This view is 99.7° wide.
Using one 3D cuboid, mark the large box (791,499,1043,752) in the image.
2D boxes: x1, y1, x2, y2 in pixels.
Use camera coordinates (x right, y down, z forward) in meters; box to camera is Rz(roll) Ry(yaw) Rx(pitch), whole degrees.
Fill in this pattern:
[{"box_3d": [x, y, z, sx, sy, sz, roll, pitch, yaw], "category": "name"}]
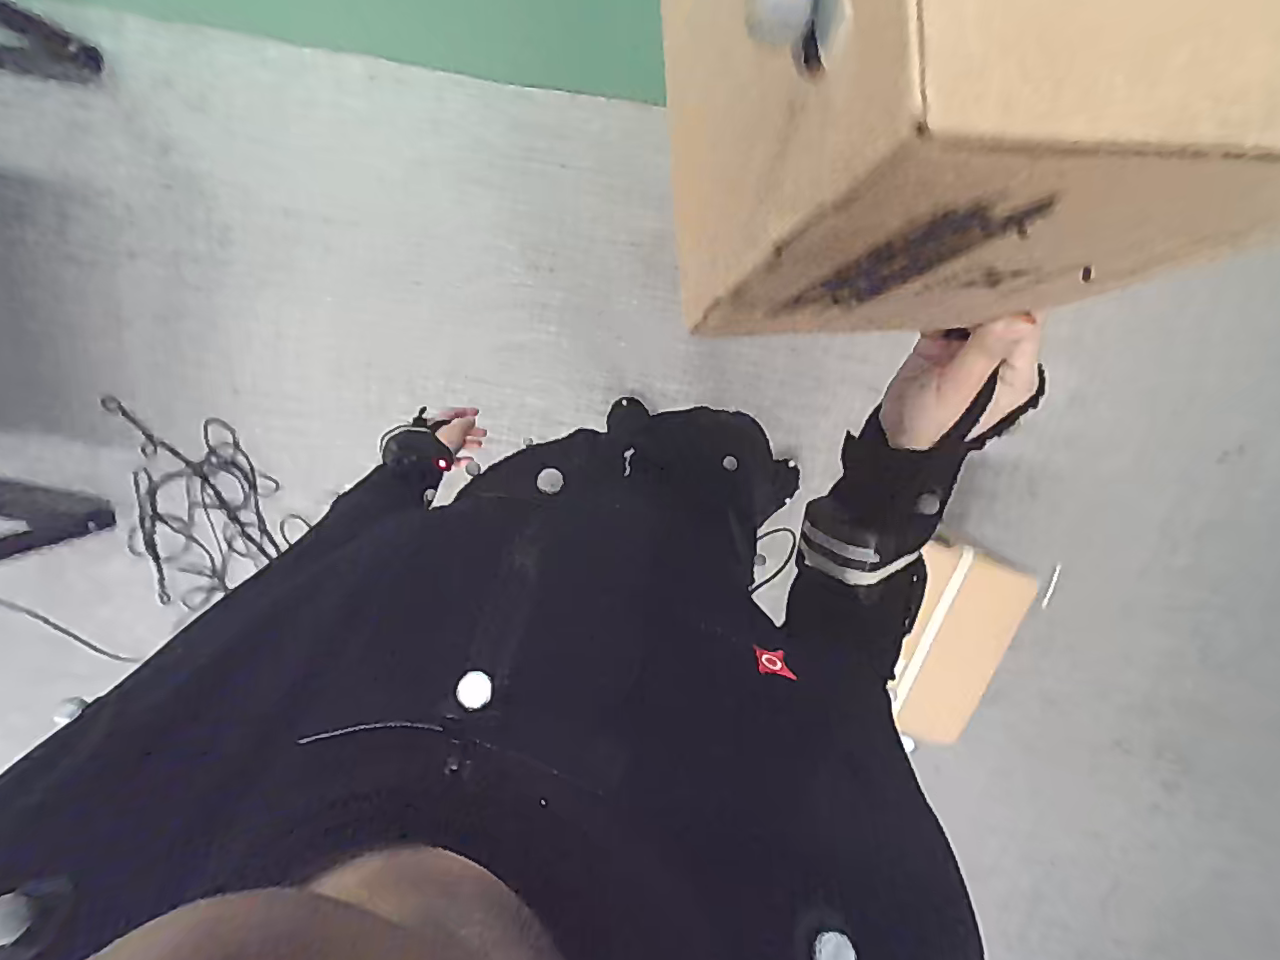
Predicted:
[{"box_3d": [0.579, 0.301, 1.216, 0.320, 0.320, 0.408, 19, 104, 1], "category": "large box"}]
